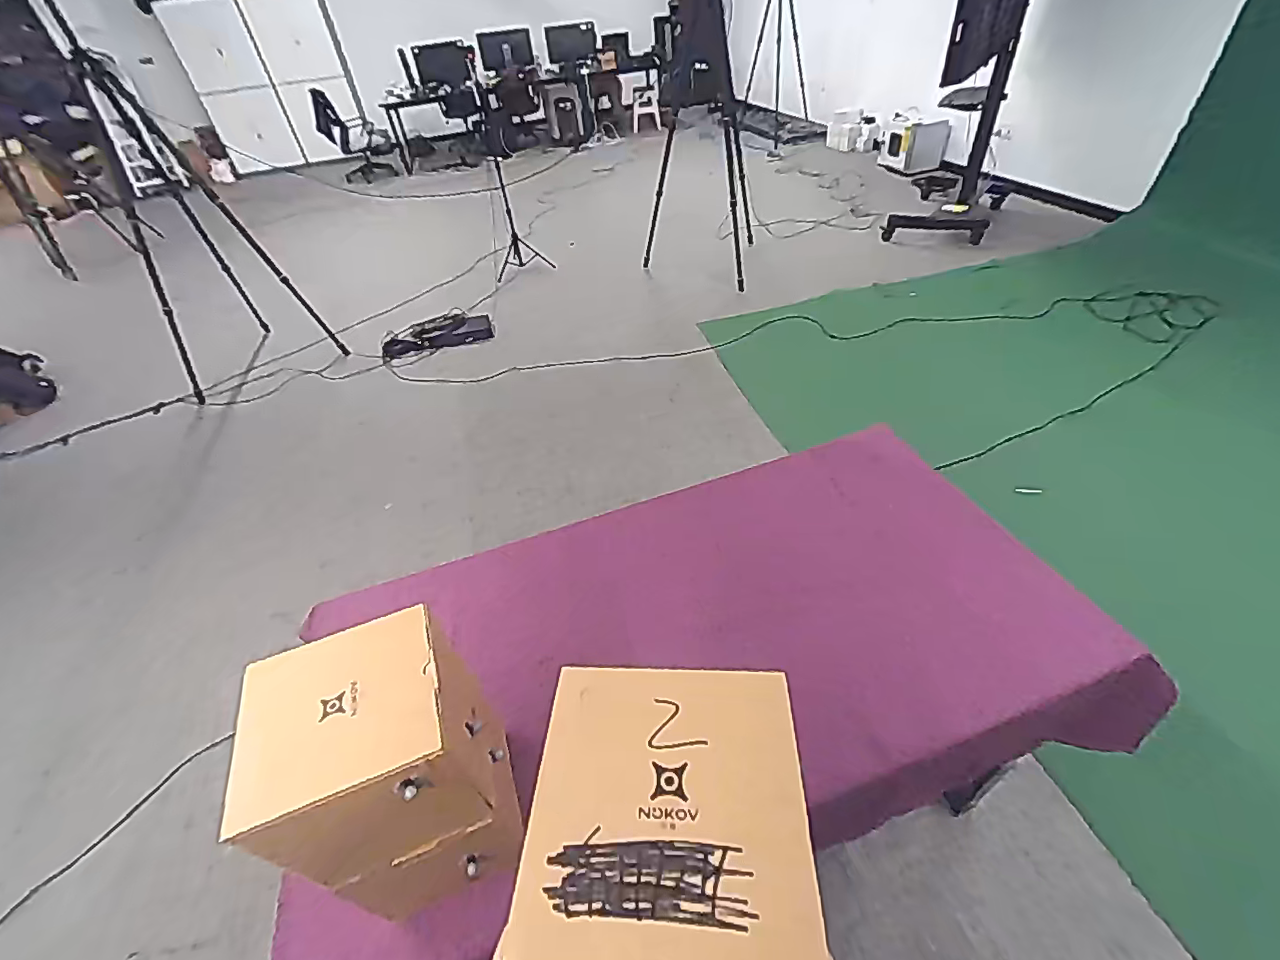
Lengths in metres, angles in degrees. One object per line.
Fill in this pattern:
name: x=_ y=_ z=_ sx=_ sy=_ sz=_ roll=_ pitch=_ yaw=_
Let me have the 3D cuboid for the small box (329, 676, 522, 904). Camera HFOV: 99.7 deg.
small box: x=-0.252 y=0.381 z=0.660 sx=0.168 sy=0.176 sz=0.179 roll=-17 pitch=43 yaw=-12

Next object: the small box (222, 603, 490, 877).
small box: x=-0.270 y=0.263 z=0.550 sx=0.179 sy=0.176 sz=0.168 roll=-18 pitch=44 yaw=-14
